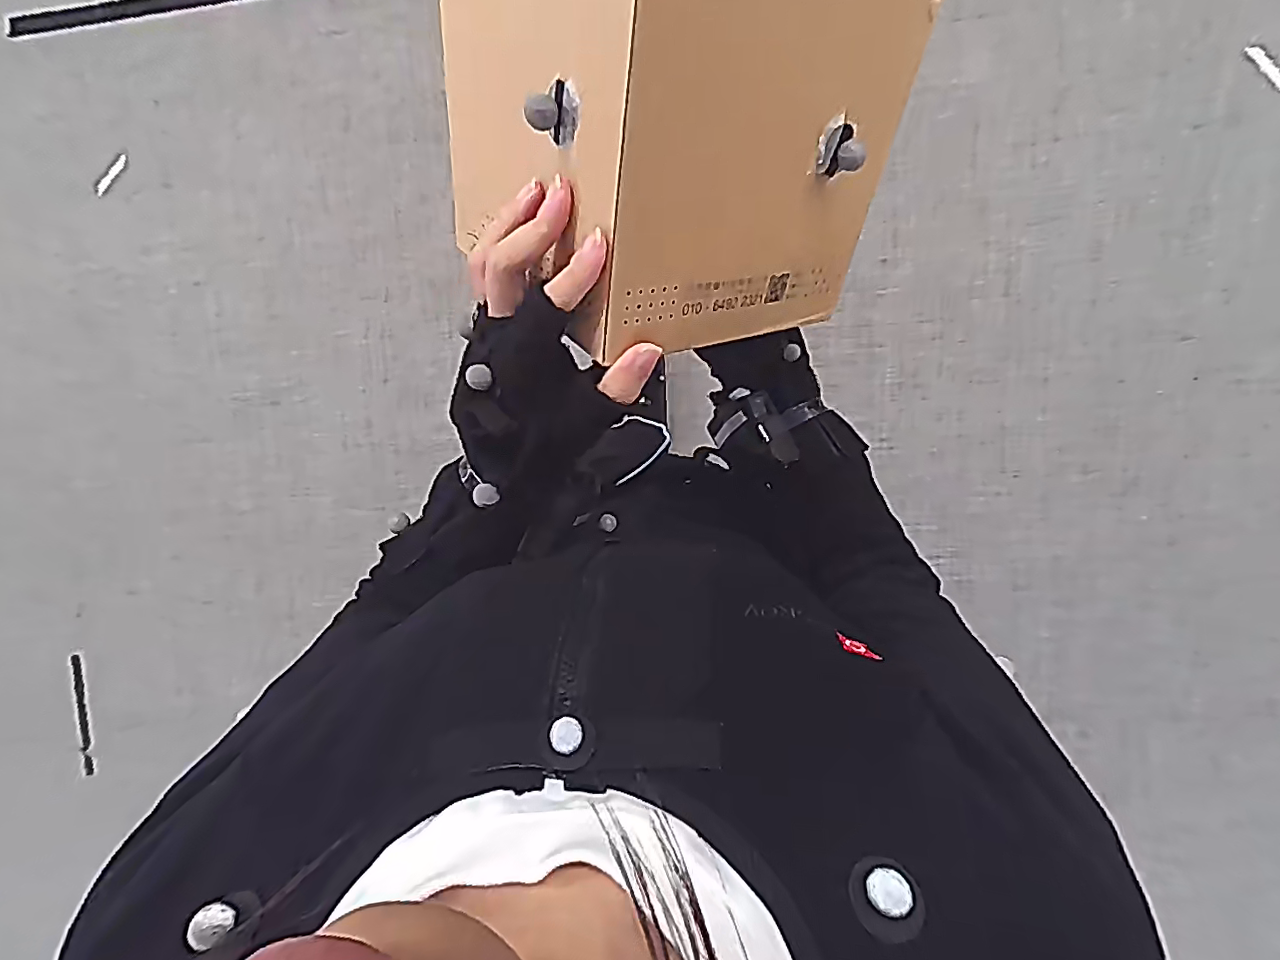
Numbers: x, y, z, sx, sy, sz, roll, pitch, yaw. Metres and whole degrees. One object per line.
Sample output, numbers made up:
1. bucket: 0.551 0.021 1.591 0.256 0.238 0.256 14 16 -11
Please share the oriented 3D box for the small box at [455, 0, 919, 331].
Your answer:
1. small box: 0.010 -0.192 0.304 0.179 0.168 0.176 44 139 37
